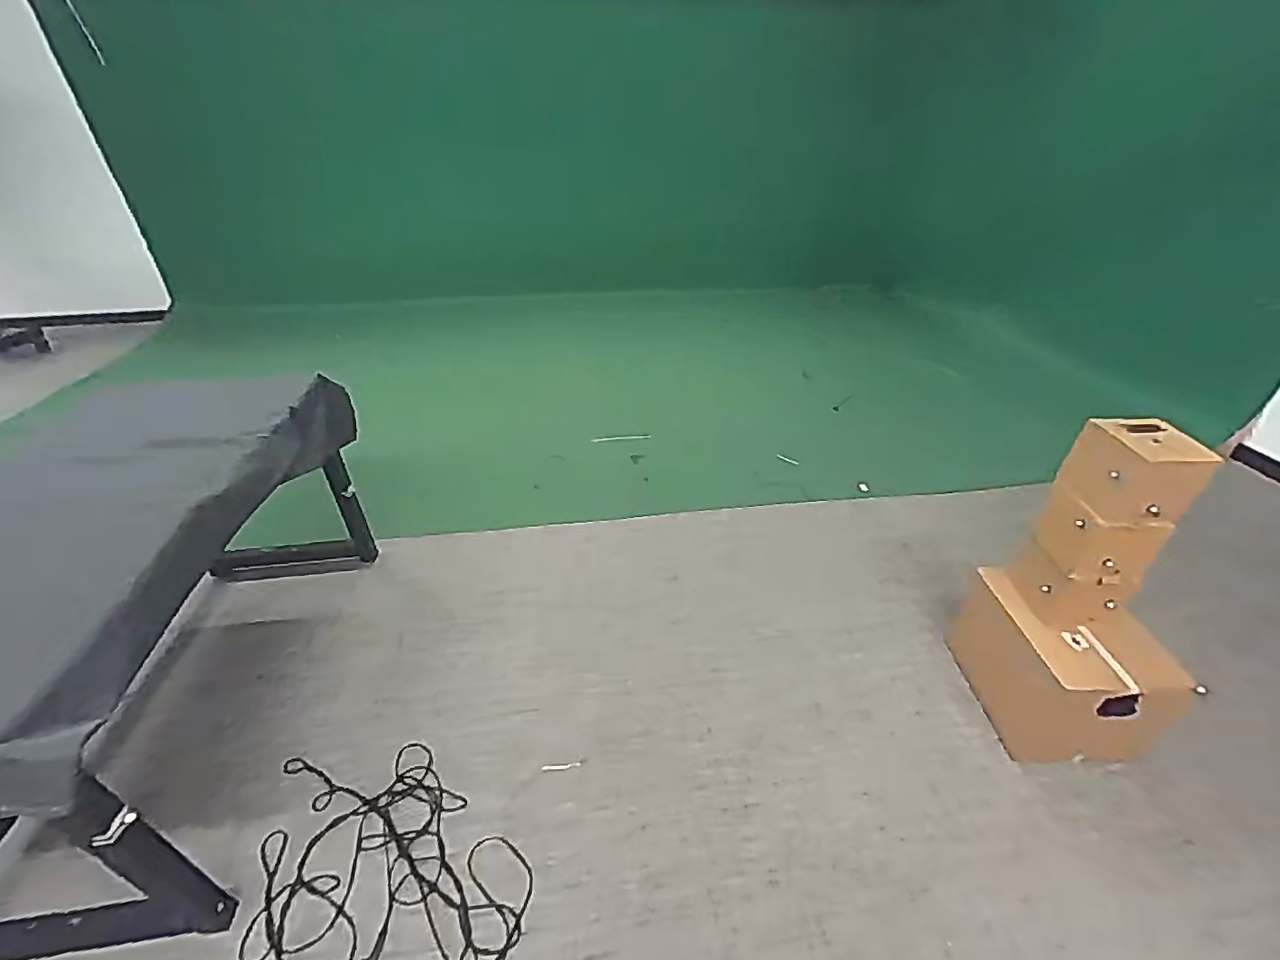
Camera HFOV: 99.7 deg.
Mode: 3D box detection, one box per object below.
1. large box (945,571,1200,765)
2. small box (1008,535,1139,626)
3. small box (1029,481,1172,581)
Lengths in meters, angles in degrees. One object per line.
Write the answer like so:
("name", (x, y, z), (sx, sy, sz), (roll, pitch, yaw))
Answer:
("large box", (1.115, 0.497, 1.469), (0.320, 0.320, 0.408), (-2, 35, 0))
("small box", (1.099, 0.259, 1.389), (0.168, 0.176, 0.179), (0, 33, -1))
("small box", (1.091, 0.121, 1.302), (0.168, 0.176, 0.179), (1, 35, 1))
